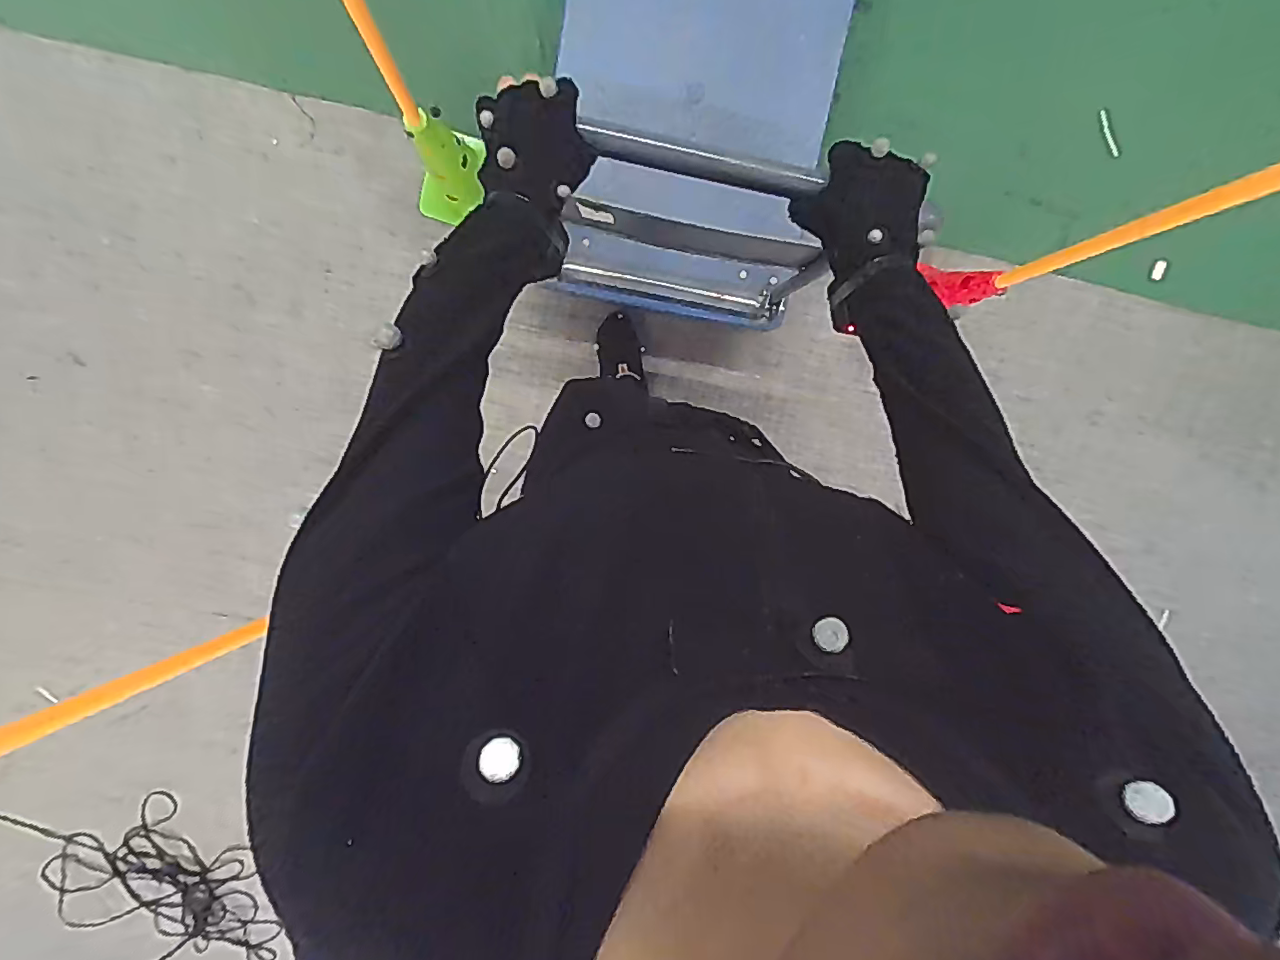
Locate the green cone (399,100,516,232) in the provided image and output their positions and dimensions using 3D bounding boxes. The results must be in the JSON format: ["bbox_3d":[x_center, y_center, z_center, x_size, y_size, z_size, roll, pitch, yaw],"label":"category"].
[{"bbox_3d":[-0.406,-0.687,1.129,0.202,0.368,0.200,16,100,-5],"label":"green cone"}]
